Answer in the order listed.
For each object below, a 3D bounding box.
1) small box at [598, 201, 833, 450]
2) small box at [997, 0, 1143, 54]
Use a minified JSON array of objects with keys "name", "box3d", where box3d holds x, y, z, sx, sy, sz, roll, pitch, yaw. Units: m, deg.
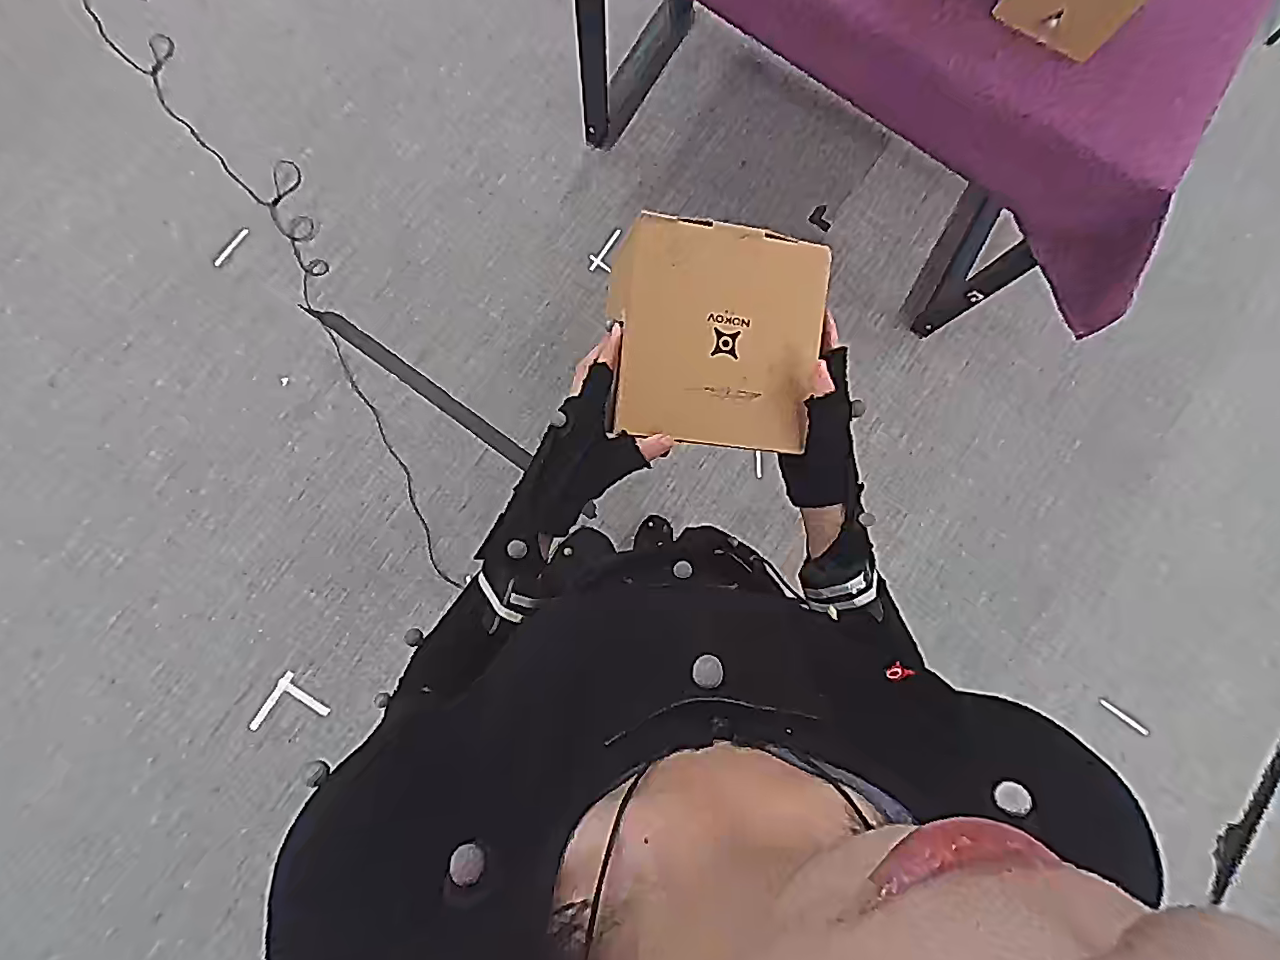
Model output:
[{"name":"small box","box3d":[0.055,-0.127,0.511,0.168,0.176,0.179,6,95,-11]},{"name":"small box","box3d":[0.709,-0.815,0.831,0.179,0.176,0.168,29,84,0]}]
